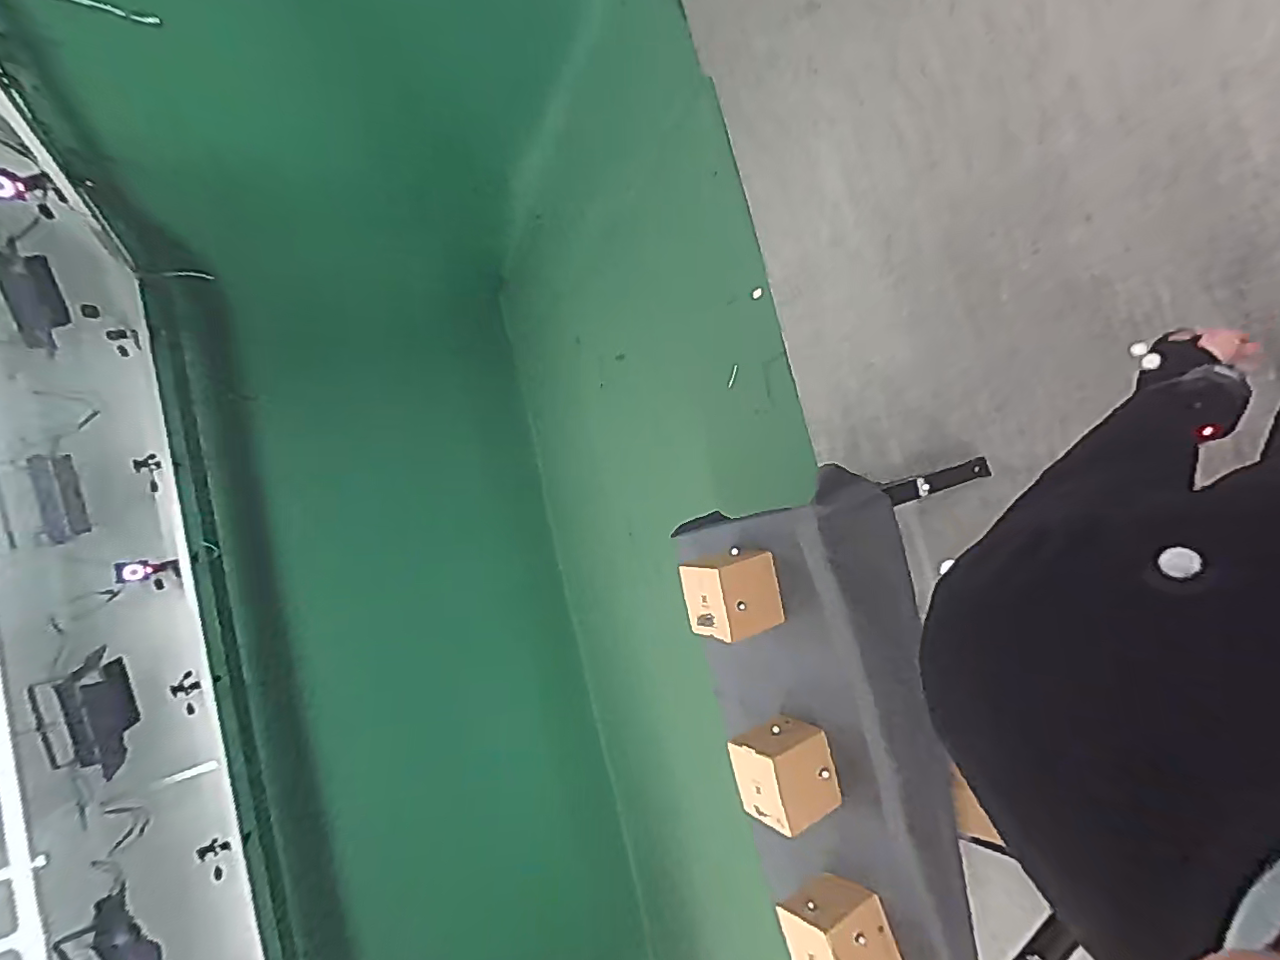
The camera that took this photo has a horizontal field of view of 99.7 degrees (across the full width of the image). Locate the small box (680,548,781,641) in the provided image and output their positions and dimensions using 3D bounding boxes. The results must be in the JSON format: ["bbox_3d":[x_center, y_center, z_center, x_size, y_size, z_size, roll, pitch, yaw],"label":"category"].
[{"bbox_3d":[0.226,0.276,1.338,0.168,0.176,0.179,-11,91,61],"label":"small box"}]

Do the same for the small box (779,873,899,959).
[{"bbox_3d":[0.455,1.036,1.226,0.179,0.176,0.168,-42,63,60],"label":"small box"}]

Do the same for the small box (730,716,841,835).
[{"bbox_3d":[0.345,0.688,1.288,0.168,0.176,0.179,-19,83,61],"label":"small box"}]
